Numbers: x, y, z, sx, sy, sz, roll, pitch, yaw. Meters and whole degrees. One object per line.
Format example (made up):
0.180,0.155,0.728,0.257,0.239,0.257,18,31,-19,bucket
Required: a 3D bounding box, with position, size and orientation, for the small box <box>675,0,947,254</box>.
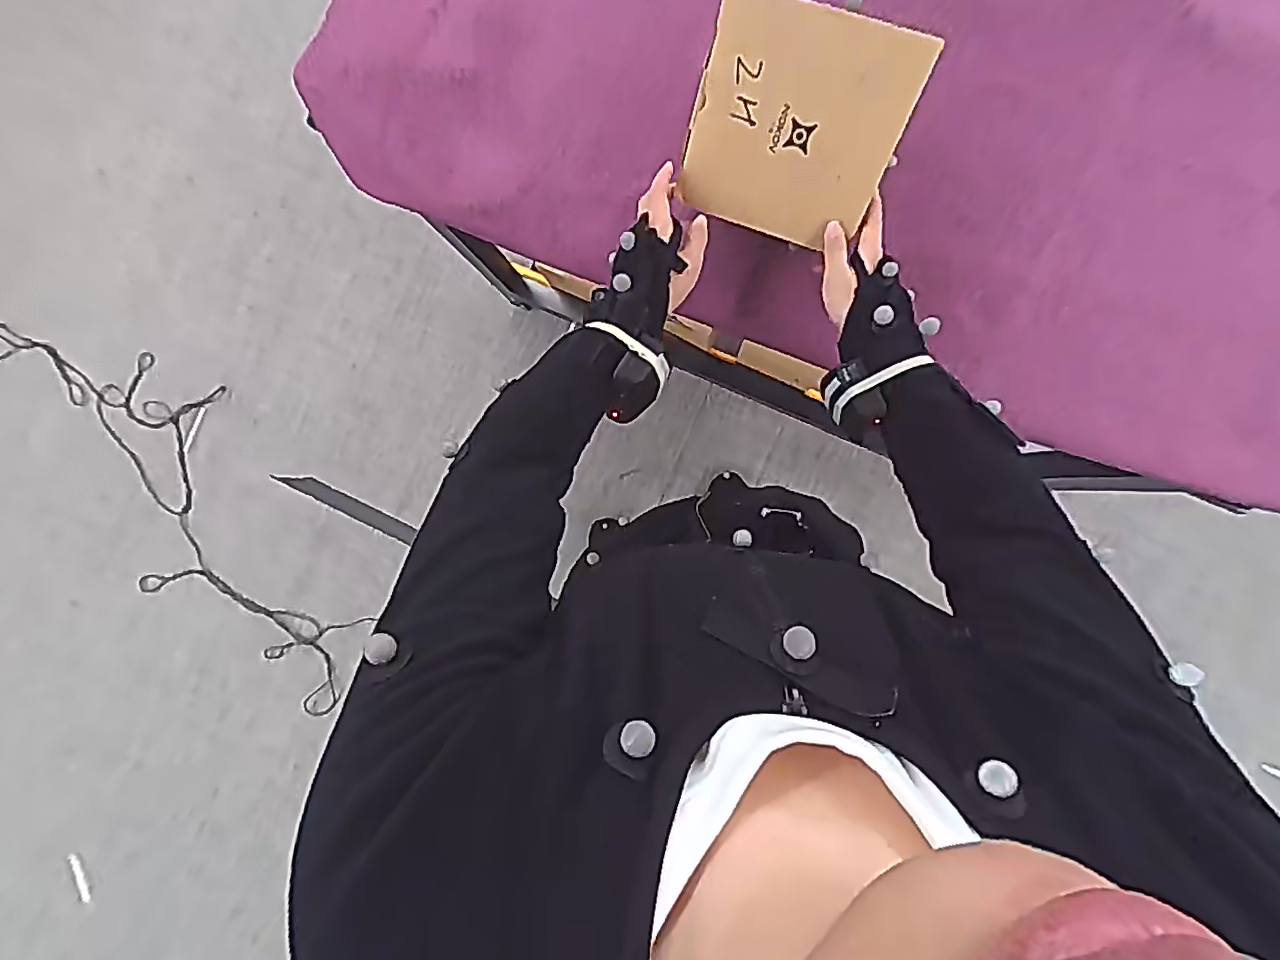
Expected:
0.155,-0.346,0.520,0.179,0.176,0.168,22,130,5,small box
